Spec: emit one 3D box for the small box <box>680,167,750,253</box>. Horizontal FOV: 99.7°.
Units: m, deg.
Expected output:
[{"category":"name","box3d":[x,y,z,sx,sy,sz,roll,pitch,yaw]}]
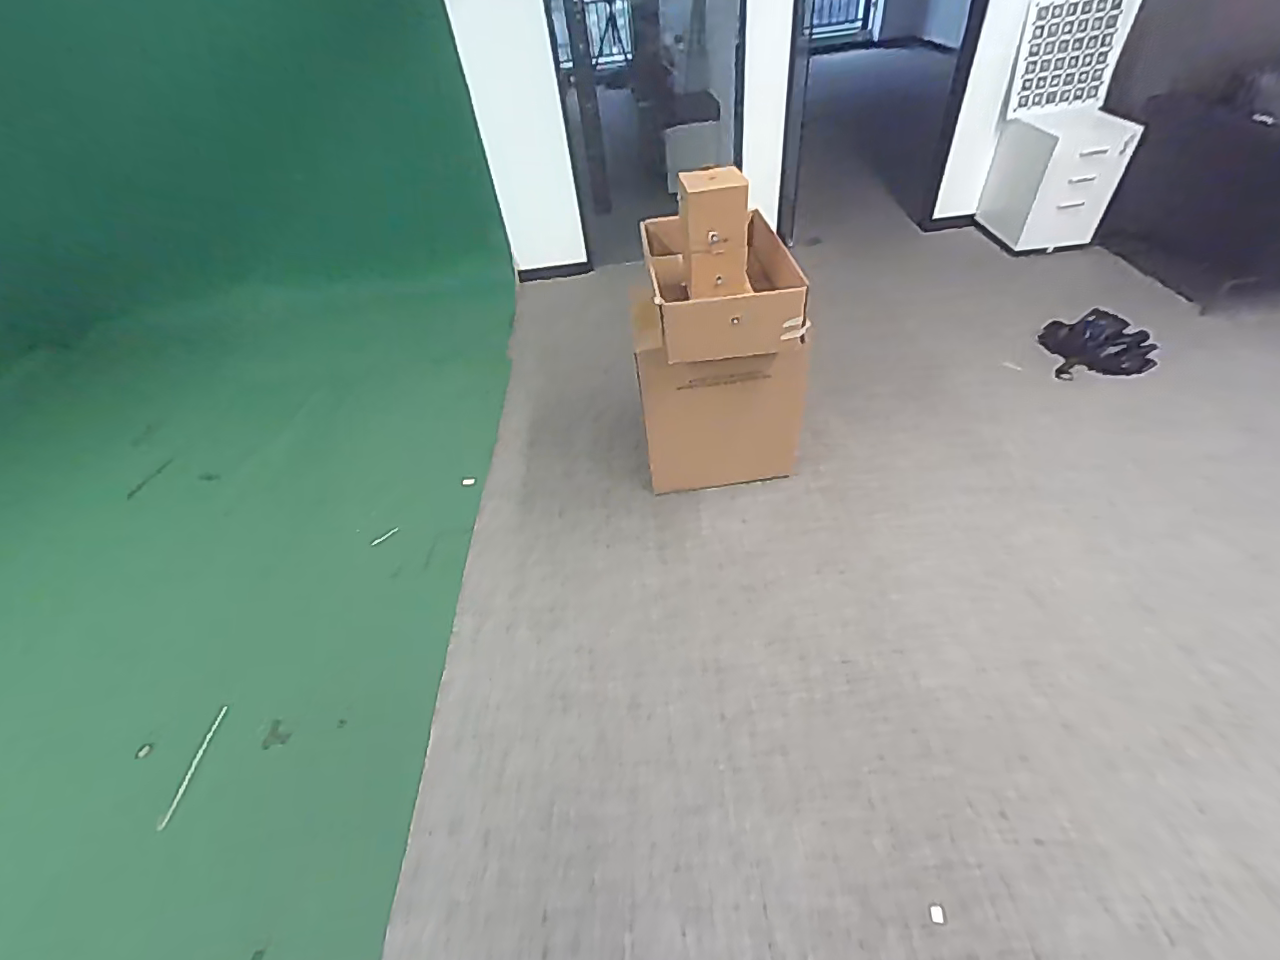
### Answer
[{"category":"small box","box3d":[0.208,-0.765,1.535,0.168,0.176,0.179,-9,45,0]}]
